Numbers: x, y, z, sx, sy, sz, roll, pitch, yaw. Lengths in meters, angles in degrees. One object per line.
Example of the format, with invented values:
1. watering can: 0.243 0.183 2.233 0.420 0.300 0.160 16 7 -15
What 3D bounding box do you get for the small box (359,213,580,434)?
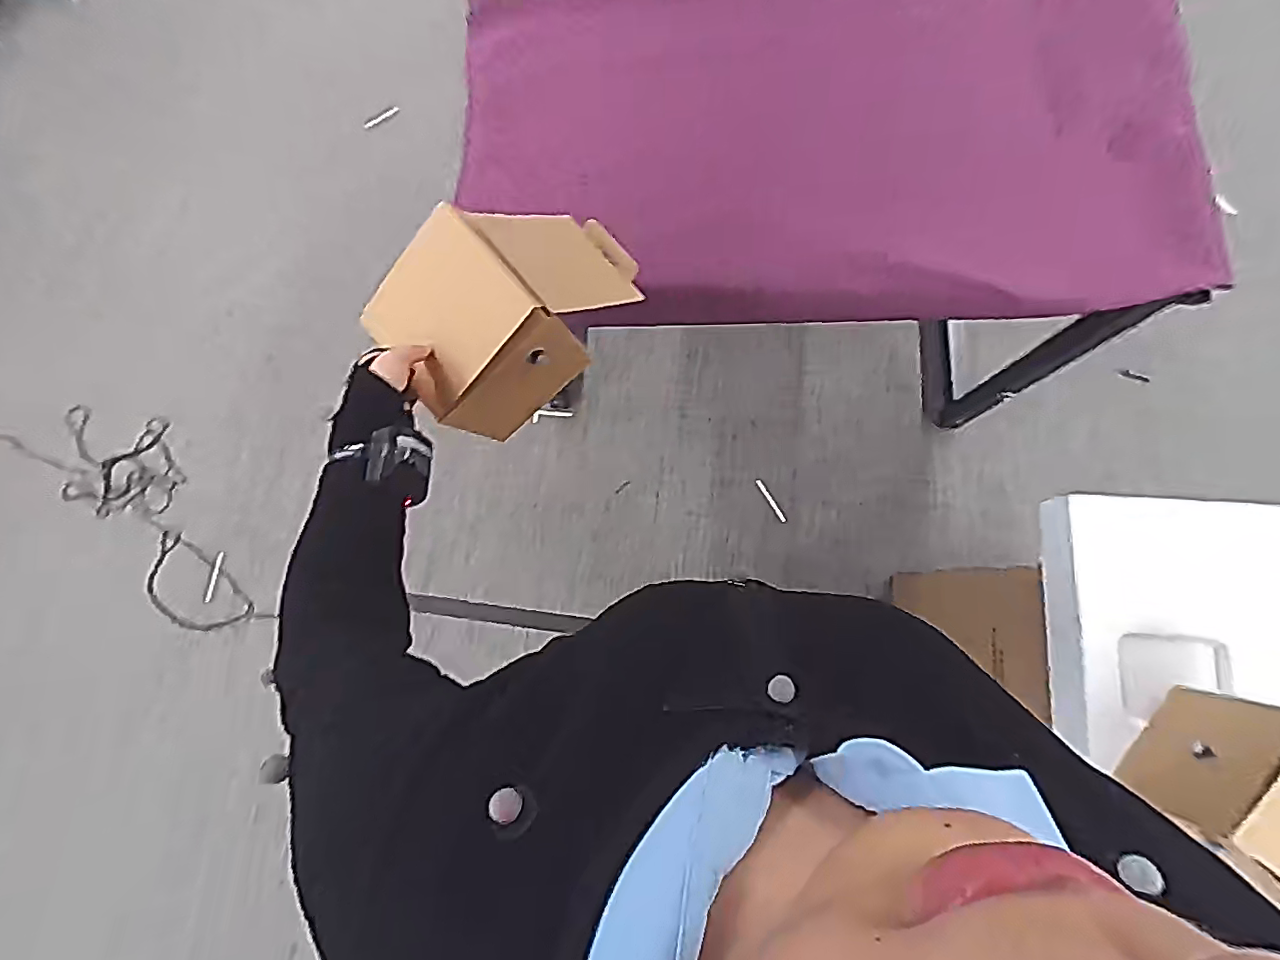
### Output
1. small box: -0.195 -0.180 0.678 0.179 0.176 0.168 -42 80 6
